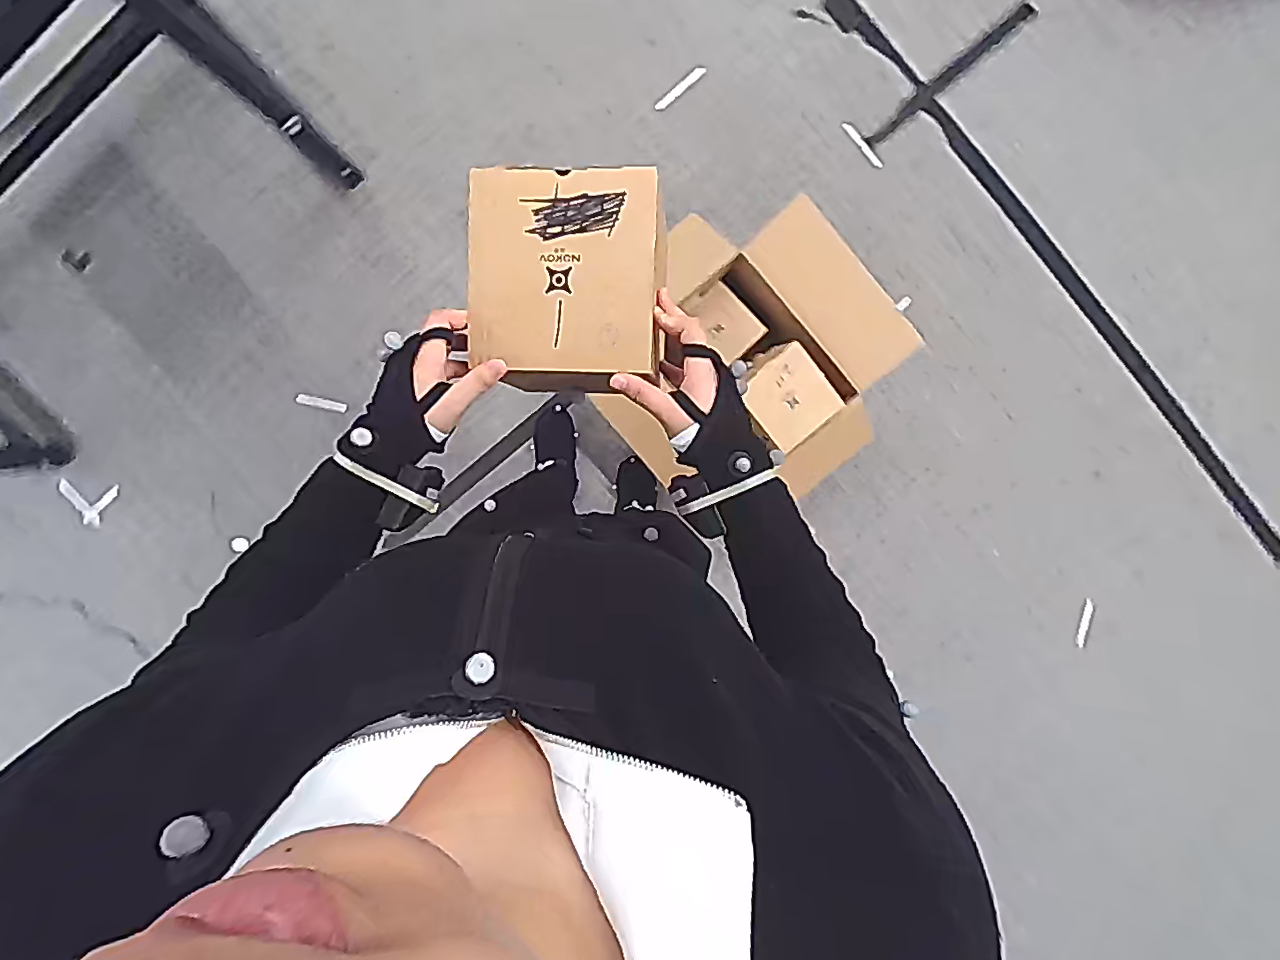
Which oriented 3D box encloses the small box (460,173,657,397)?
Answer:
[{"bbox_3d":[-0.071,-0.183,0.554,0.168,0.176,0.179,1,94,6],"label":"small box"}]
